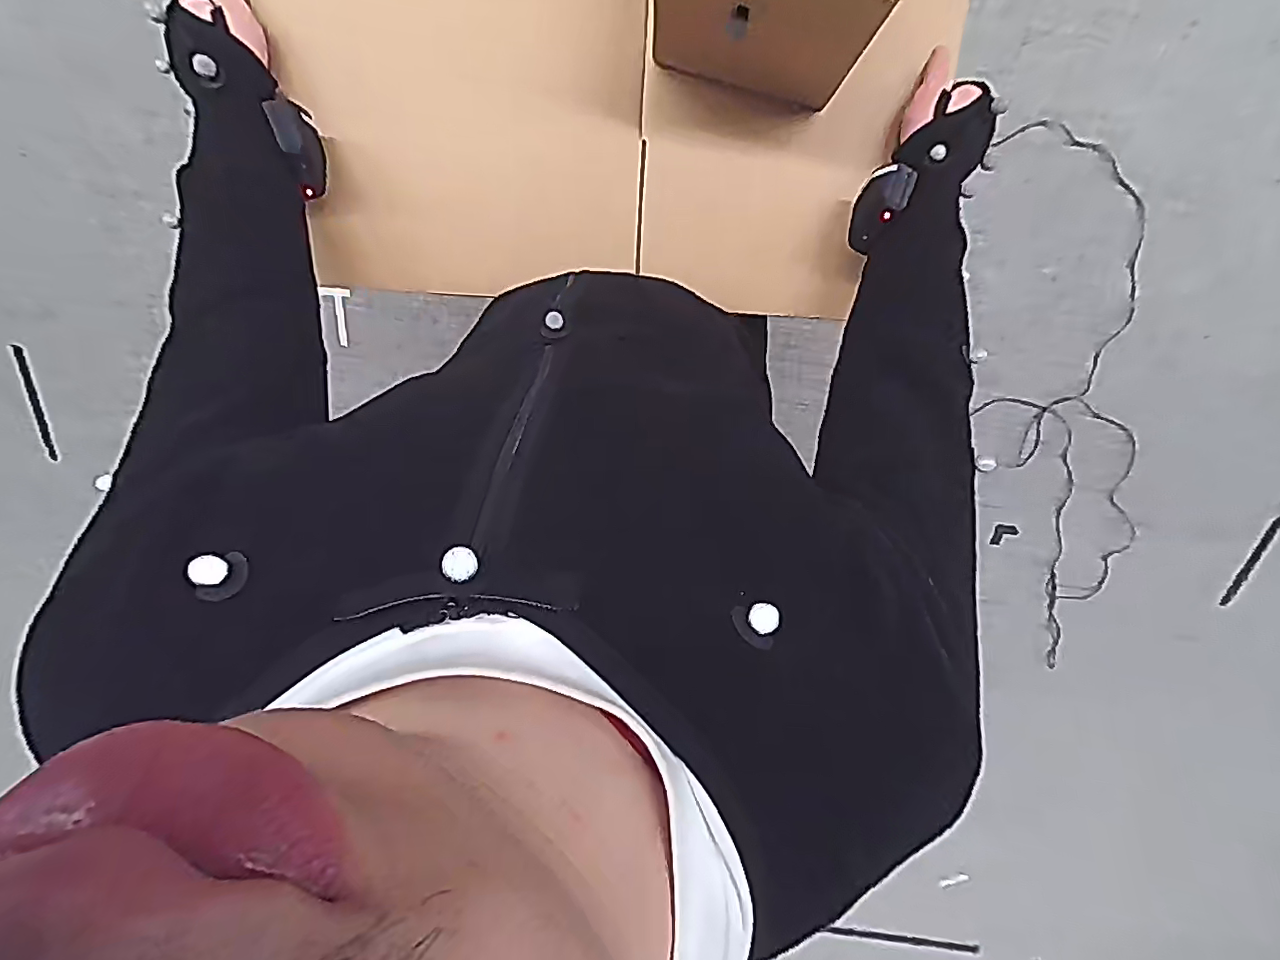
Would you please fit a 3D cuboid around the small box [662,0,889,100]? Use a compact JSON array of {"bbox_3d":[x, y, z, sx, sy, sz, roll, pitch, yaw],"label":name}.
[{"bbox_3d":[0.119,-0.446,0.434,0.179,0.176,0.168,14,103,-1],"label":"small box"}]
